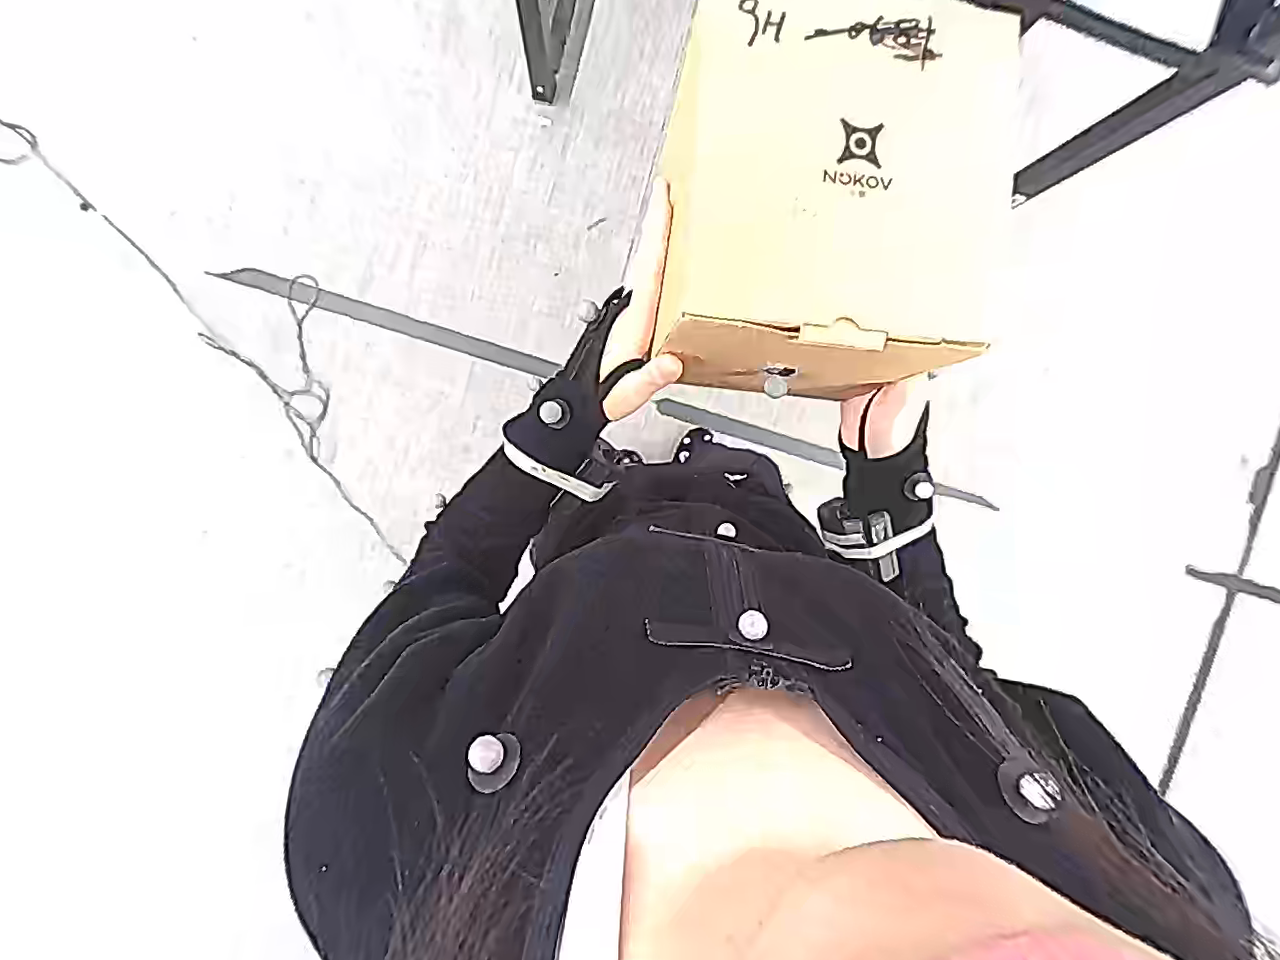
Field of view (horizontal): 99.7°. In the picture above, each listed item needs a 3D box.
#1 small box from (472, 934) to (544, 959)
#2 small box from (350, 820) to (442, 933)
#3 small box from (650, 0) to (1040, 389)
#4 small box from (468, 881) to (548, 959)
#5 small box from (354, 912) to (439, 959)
[{"bbox_3d":[-0.342,1.256,1.307,0.179,0.176,0.168,19,93,-8],"label":"small box"},{"bbox_3d":[-0.635,1.037,1.427,0.168,0.176,0.179,10,94,-6],"label":"small box"},{"bbox_3d":[0.102,-0.159,0.341,0.168,0.176,0.179,5,90,-7],"label":"small box"},{"bbox_3d":[-0.360,1.239,1.470,0.179,0.176,0.168,17,93,-8],"label":"small box"},{"bbox_3d":[-0.659,1.297,1.449,0.179,0.176,0.168,10,95,-7],"label":"small box"}]
